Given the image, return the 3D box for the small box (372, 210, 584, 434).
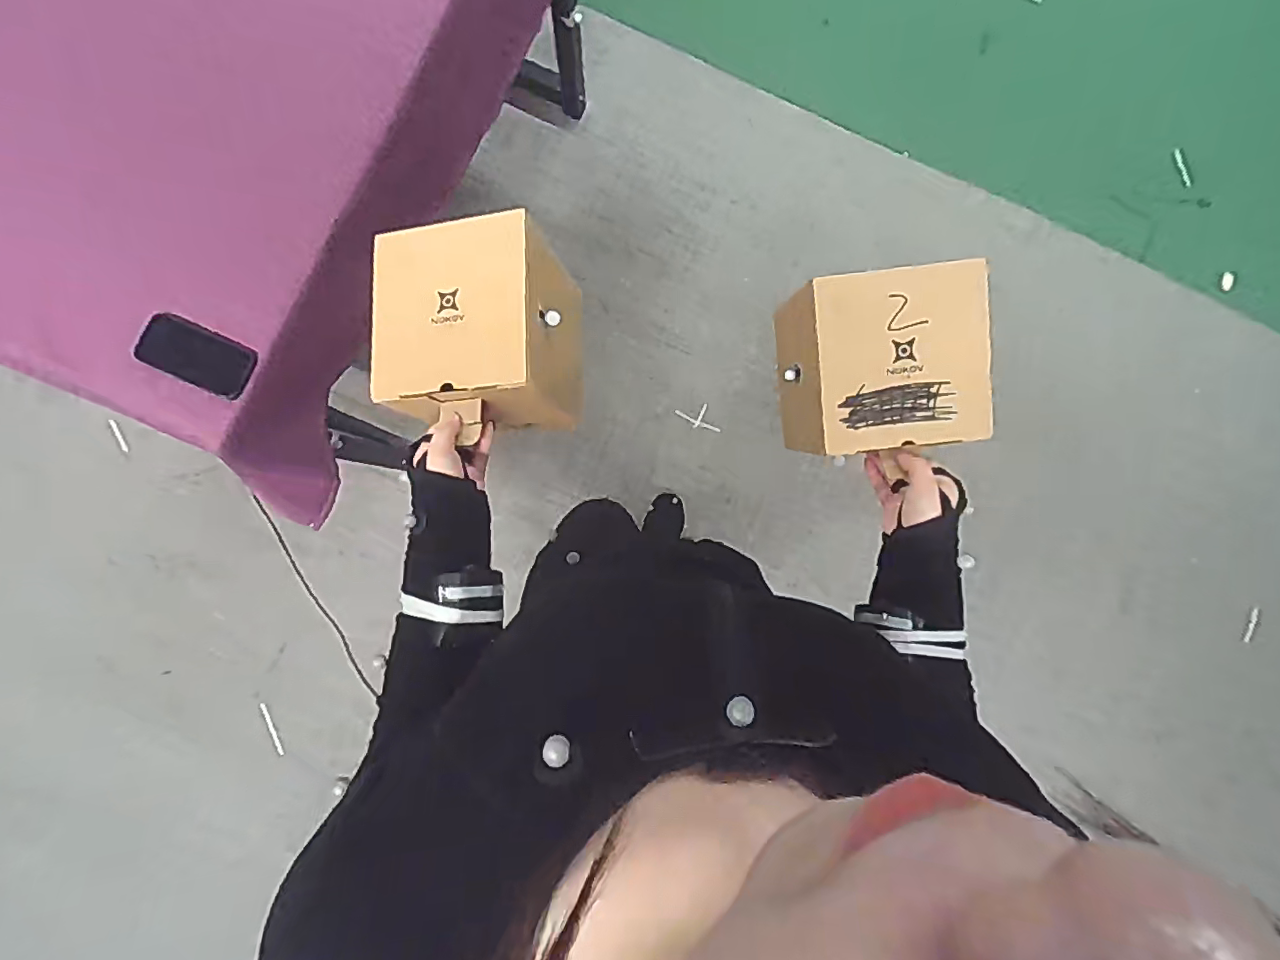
[{"bbox_3d":[-0.164,-0.157,0.593,0.168,0.176,0.179,-4,83,12],"label":"small box"}]
